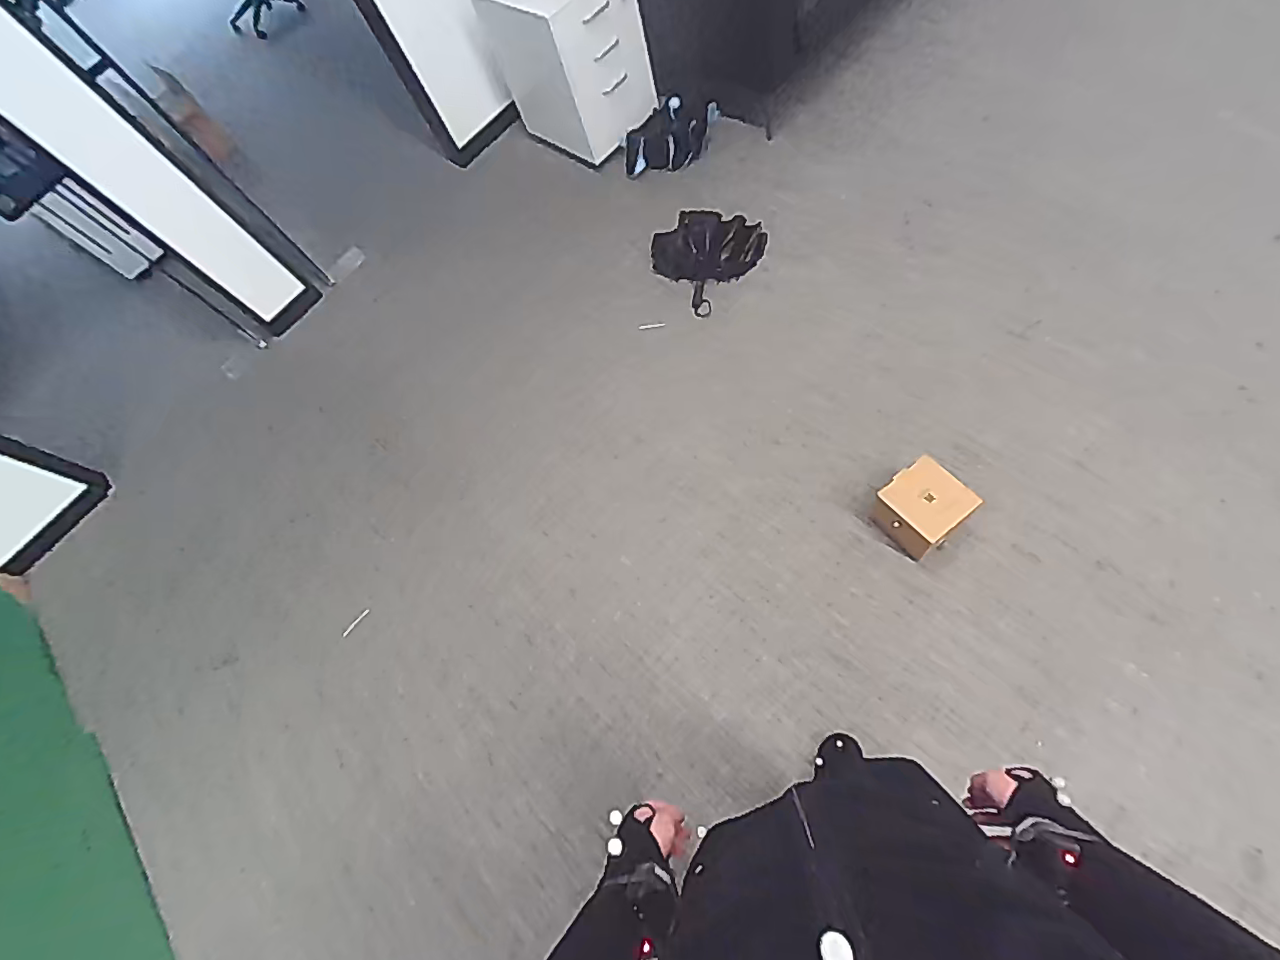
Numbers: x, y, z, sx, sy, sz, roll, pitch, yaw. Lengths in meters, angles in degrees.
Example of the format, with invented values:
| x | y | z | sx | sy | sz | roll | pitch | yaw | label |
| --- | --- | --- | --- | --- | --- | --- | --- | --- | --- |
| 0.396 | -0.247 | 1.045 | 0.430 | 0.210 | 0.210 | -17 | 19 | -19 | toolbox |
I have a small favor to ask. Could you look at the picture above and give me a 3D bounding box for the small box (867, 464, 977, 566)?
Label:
| x | y | z | sx | sy | sz | roll | pitch | yaw | label |
| --- | --- | --- | --- | --- | --- | --- | --- | --- | --- |
| 0.720 | 0.098 | 1.406 | 0.168 | 0.176 | 0.179 | -39 | 63 | -4 | small box |
